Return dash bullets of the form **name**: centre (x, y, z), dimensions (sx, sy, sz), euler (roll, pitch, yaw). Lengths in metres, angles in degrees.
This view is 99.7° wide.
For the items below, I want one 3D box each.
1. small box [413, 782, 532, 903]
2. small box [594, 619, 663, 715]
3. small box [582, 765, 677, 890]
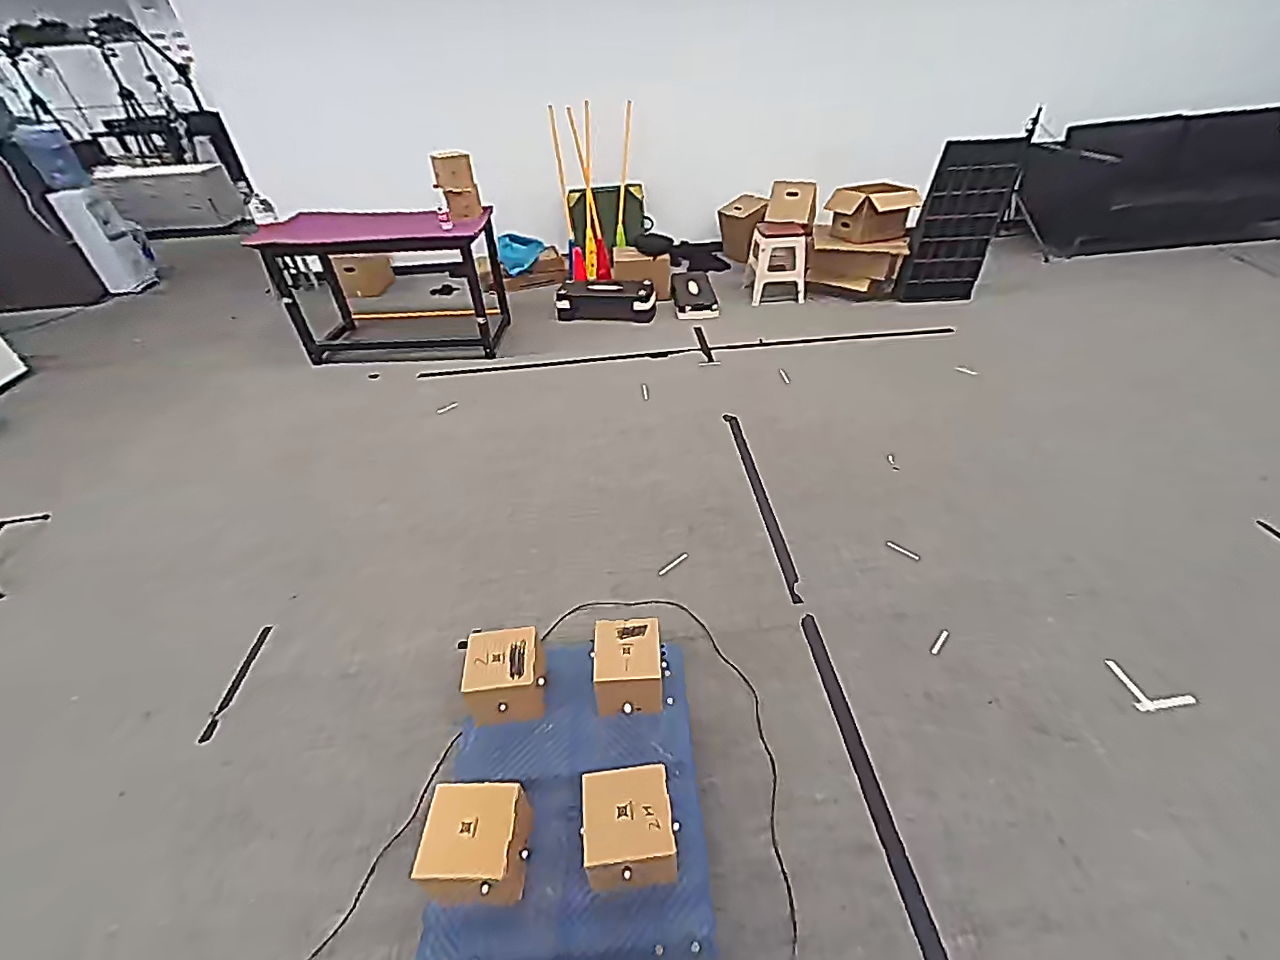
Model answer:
- **small box**: centre (-0.330, 0.740, 1.103), dimensions (0.179, 0.176, 0.168), euler (-1, 39, 1)
- **small box**: centre (-0.027, 0.482, 1.398), dimensions (0.168, 0.176, 0.179), euler (-3, 40, 0)
- **small box**: centre (-0.021, 0.716, 1.111), dimensions (0.179, 0.176, 0.168), euler (-6, 39, -3)
